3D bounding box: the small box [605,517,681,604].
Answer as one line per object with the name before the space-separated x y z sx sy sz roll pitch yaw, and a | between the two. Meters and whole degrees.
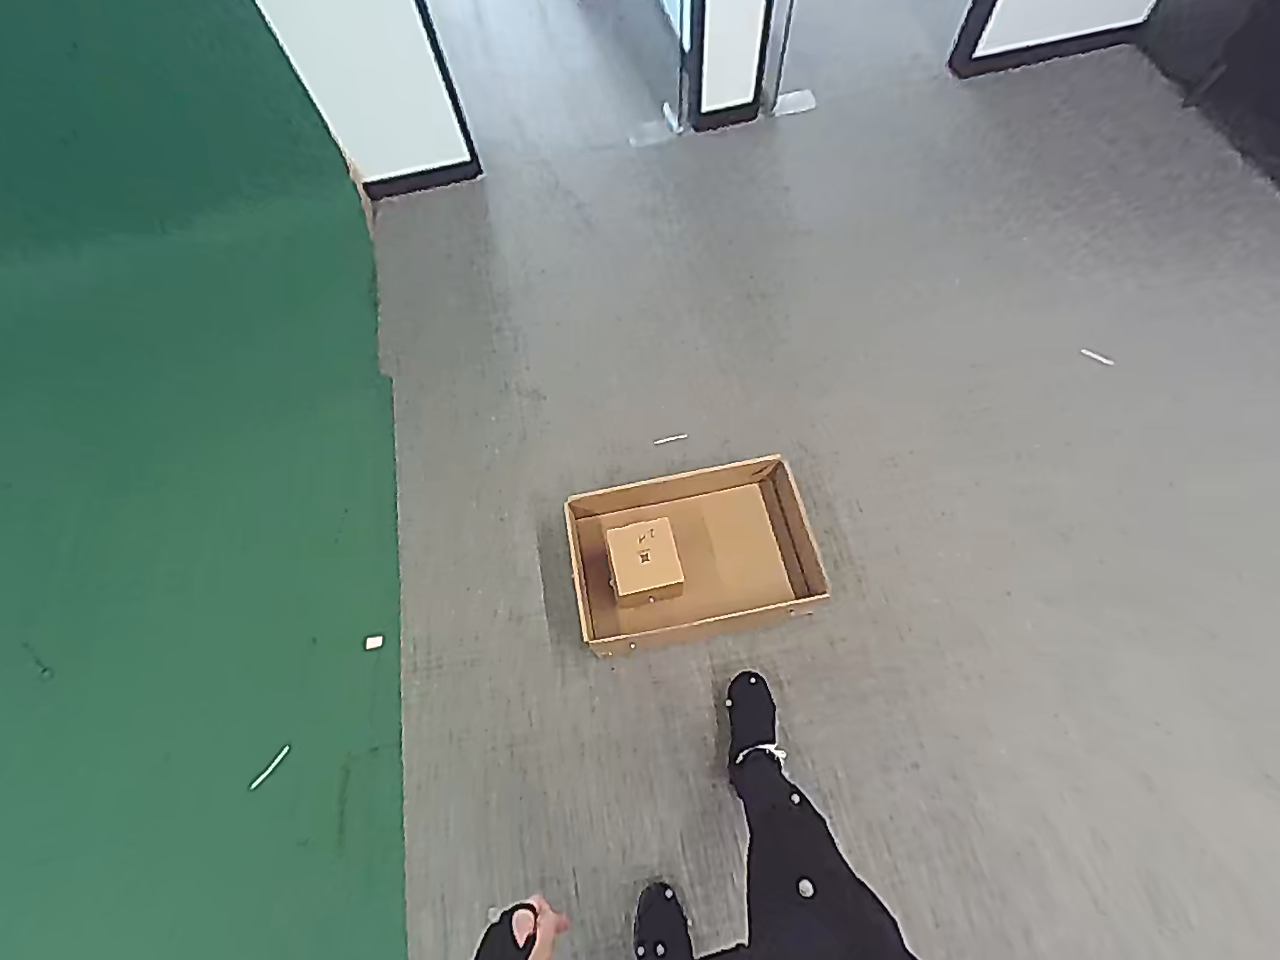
small box | 0.009 0.218 1.413 0.168 0.176 0.179 -11 66 -3
